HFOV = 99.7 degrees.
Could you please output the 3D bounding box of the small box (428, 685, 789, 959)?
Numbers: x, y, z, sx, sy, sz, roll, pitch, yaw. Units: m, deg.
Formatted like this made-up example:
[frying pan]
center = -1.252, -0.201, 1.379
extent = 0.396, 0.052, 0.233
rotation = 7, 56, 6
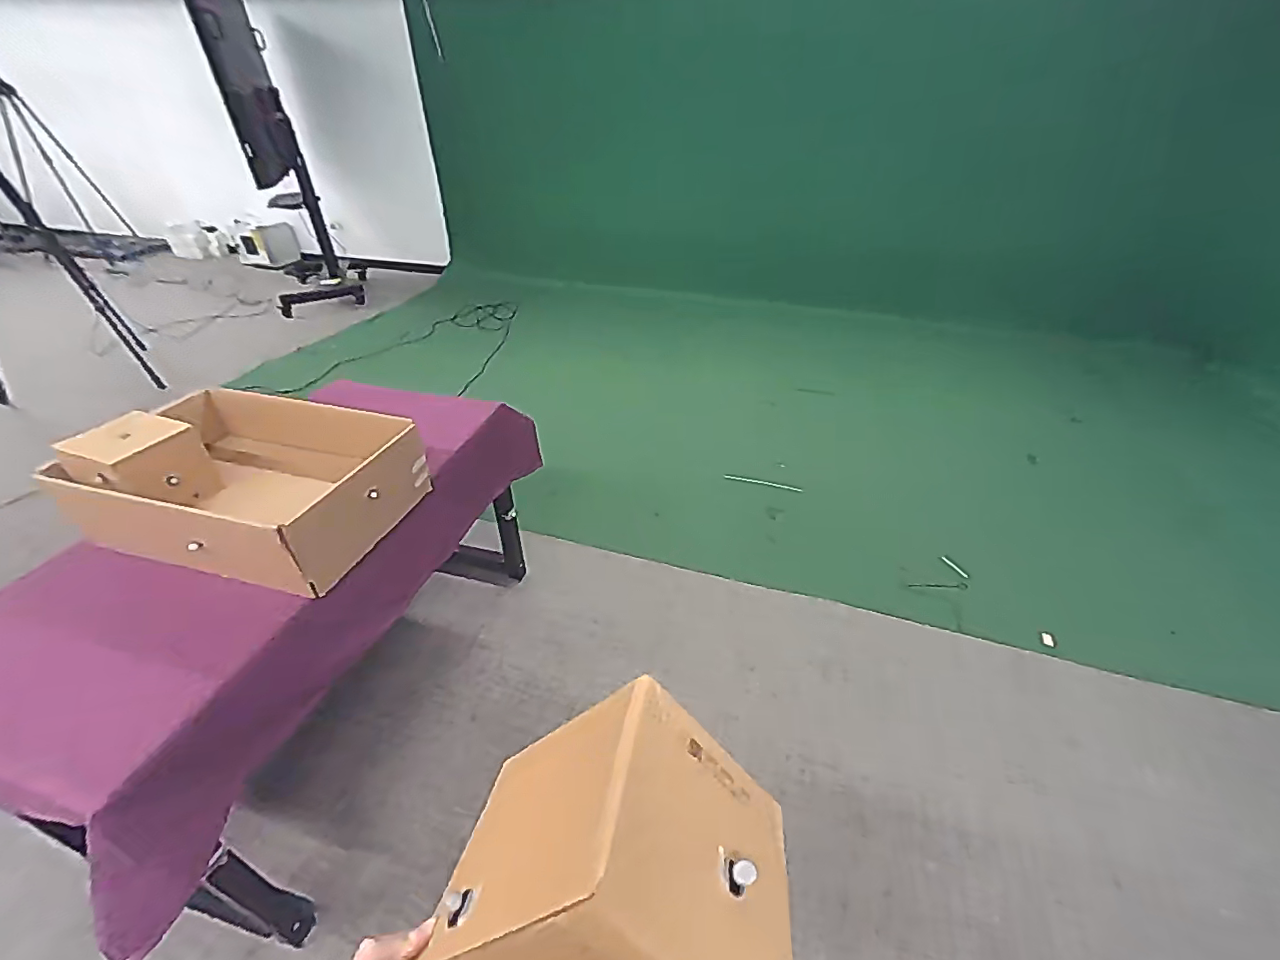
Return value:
[small box]
center = -0.010, 0.288, 0.396
extent = 0.168, 0.179, 0.176
rotation = 47, 23, -8
